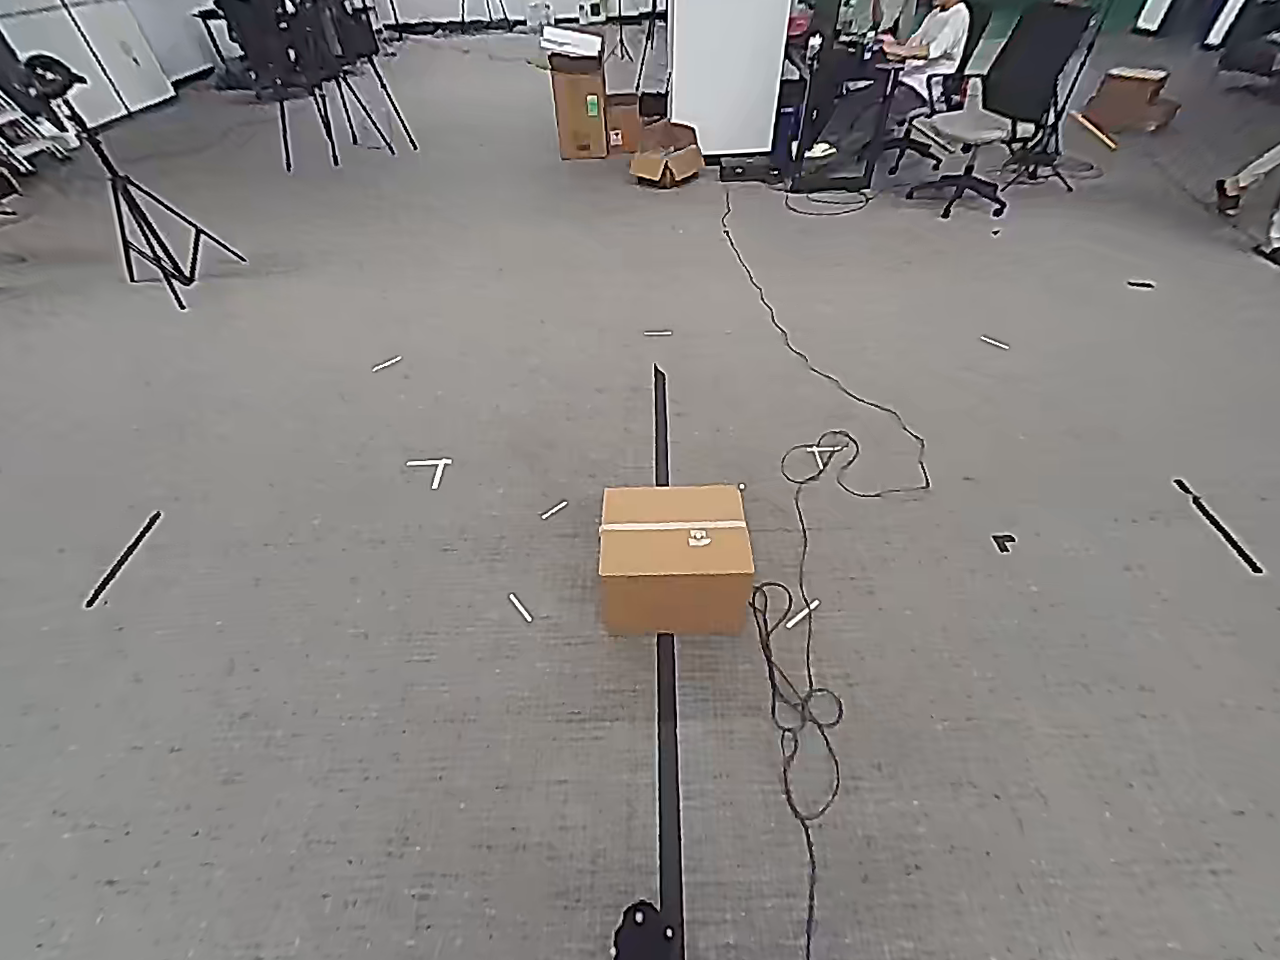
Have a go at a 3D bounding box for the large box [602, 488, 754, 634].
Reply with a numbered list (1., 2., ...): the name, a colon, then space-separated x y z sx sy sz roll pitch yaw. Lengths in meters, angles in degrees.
1. large box: 0.098 0.242 1.604 0.408 0.320 0.320 -1 46 1
